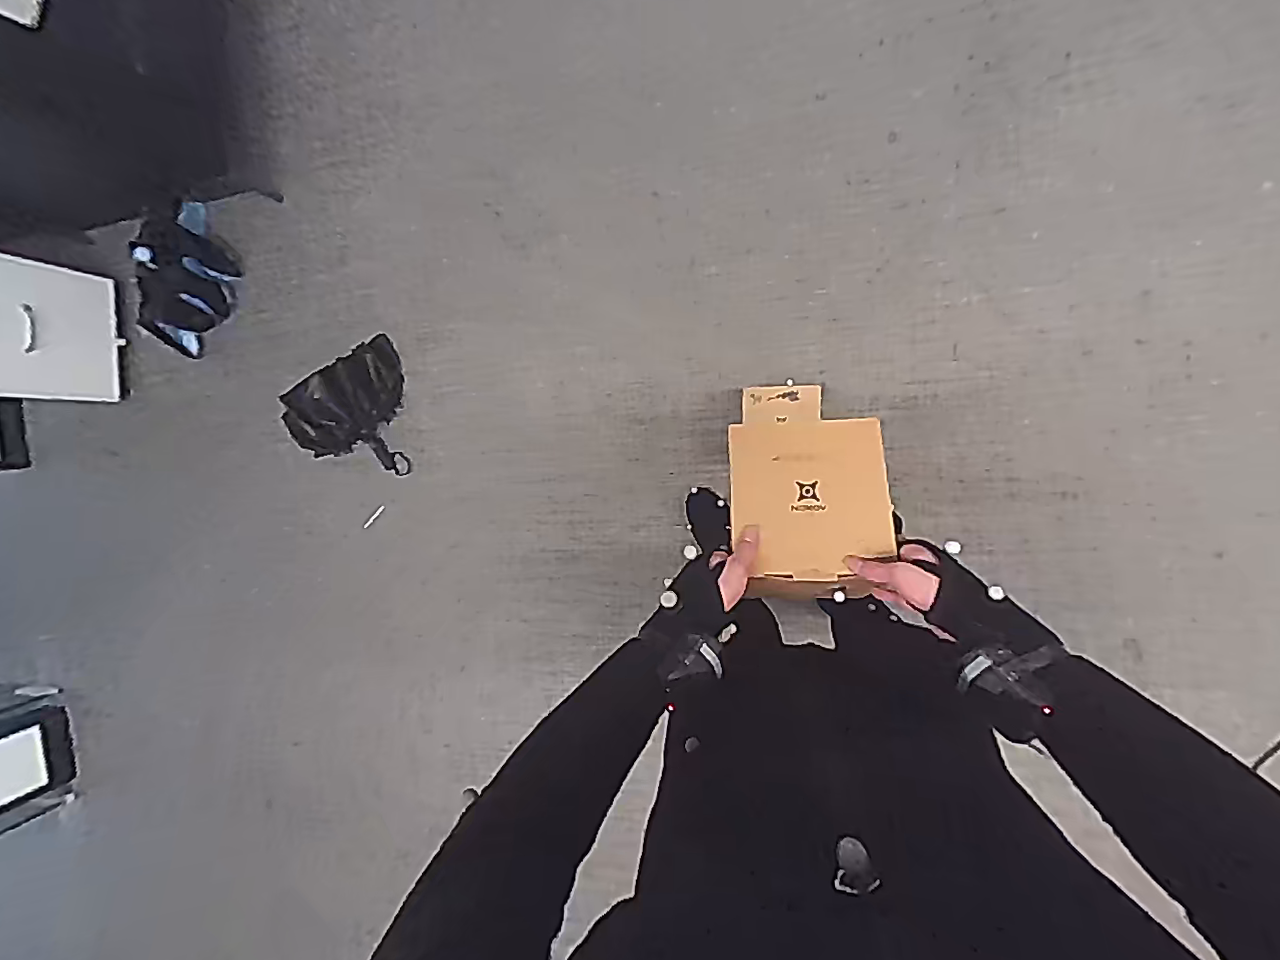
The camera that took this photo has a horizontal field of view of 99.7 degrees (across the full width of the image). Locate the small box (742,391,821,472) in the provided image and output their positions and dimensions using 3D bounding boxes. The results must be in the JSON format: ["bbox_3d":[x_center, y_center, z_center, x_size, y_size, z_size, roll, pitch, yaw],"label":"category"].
[{"bbox_3d":[0.328,-0.114,1.253,0.168,0.176,0.179,1,95,15],"label":"small box"}]
